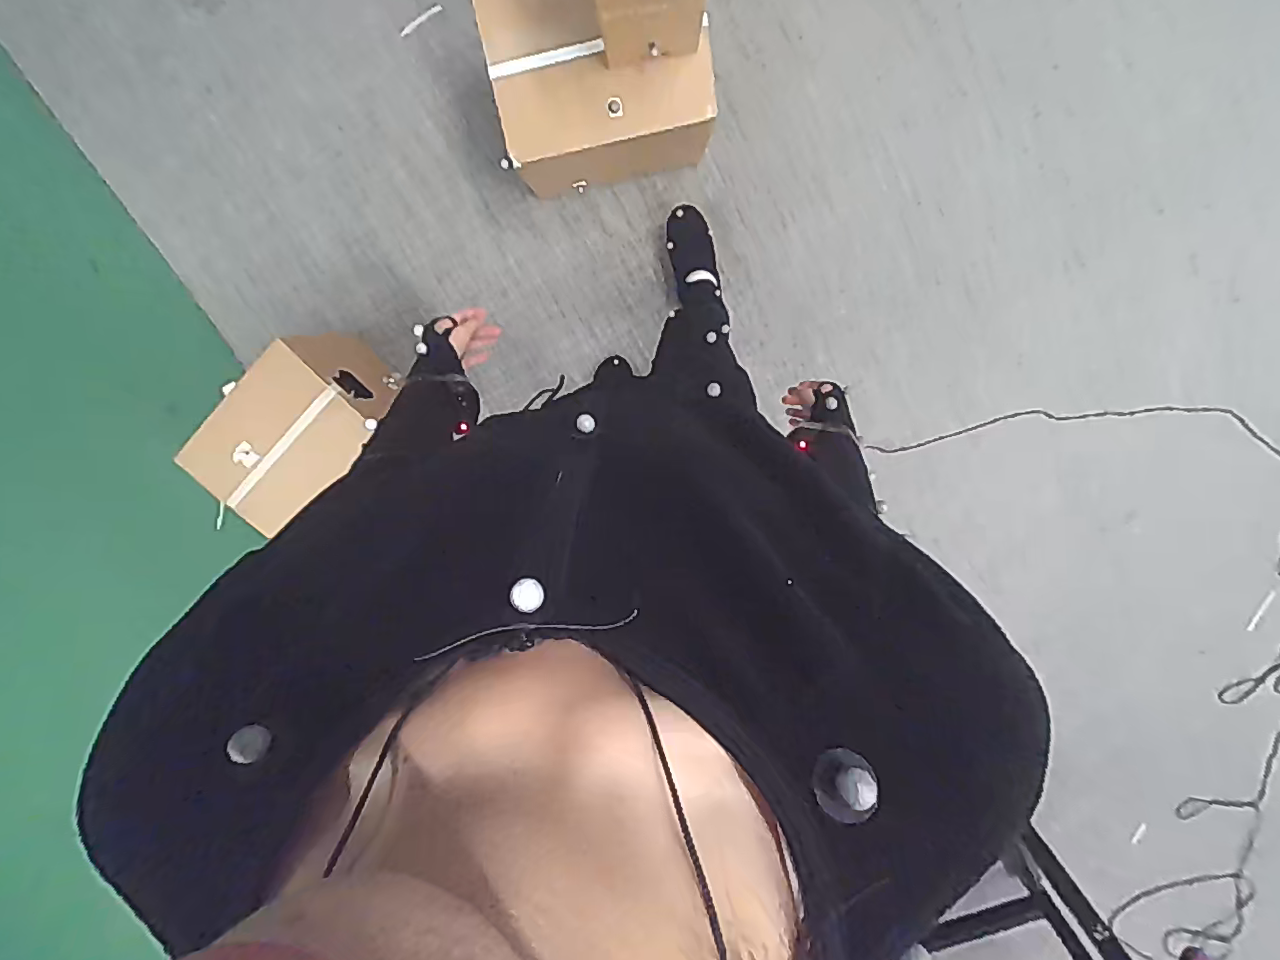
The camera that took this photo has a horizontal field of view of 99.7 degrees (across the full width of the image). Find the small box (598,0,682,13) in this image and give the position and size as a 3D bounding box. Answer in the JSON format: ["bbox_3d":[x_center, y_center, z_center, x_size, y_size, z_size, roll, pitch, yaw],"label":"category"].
[{"bbox_3d":[0.013,-0.769,0.715,0.179,0.176,0.168,-8,105,4],"label":"small box"}]

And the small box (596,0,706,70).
[{"bbox_3d":[0.007,-0.812,0.872,0.168,0.176,0.179,-9,105,4],"label":"small box"}]

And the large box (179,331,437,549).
[{"bbox_3d":[-0.797,-0.114,1.350,0.408,0.320,0.320,-41,101,13],"label":"large box"}]
